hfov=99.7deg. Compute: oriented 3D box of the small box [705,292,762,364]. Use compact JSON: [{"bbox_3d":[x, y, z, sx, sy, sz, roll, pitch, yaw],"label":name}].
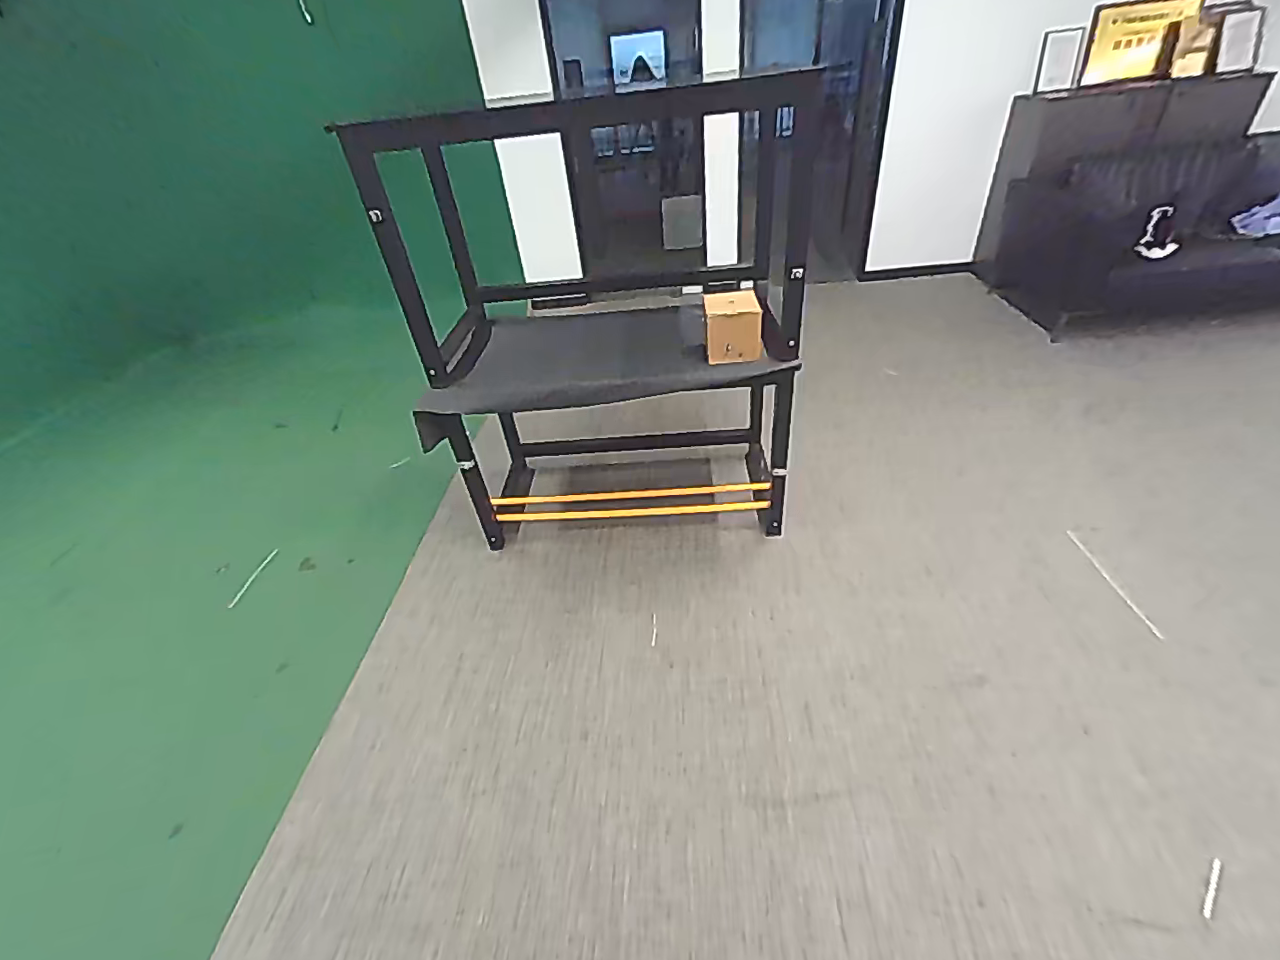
[{"bbox_3d":[0.297,-0.489,1.743,0.168,0.176,0.179,-4,38,5],"label":"small box"}]
